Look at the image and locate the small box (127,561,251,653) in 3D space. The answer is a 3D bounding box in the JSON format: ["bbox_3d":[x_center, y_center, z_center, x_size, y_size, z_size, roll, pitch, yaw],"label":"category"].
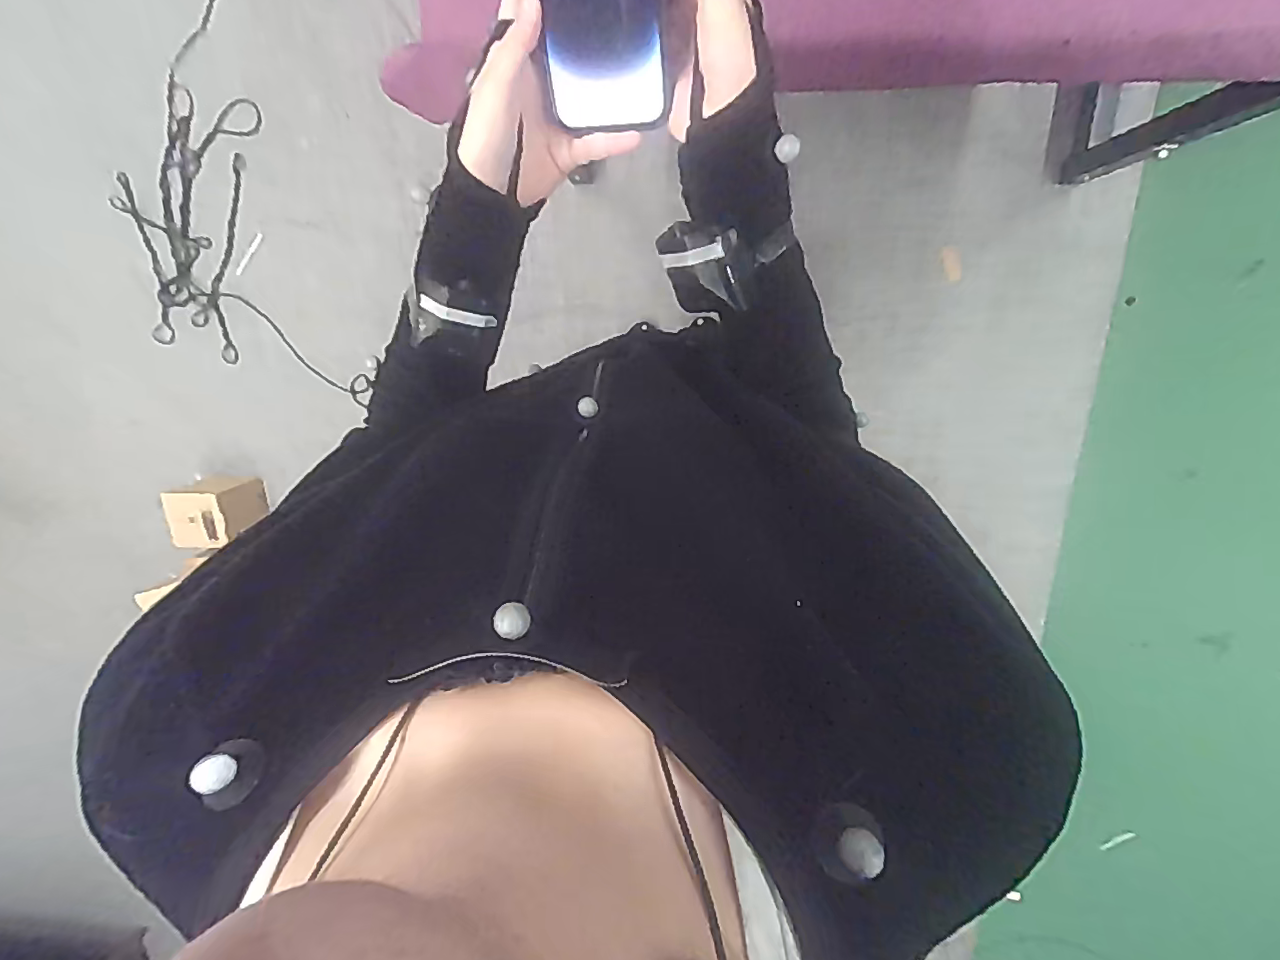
[{"bbox_3d":[-1.215,0.339,1.478,0.179,0.176,0.168,-16,104,10],"label":"small box"}]
